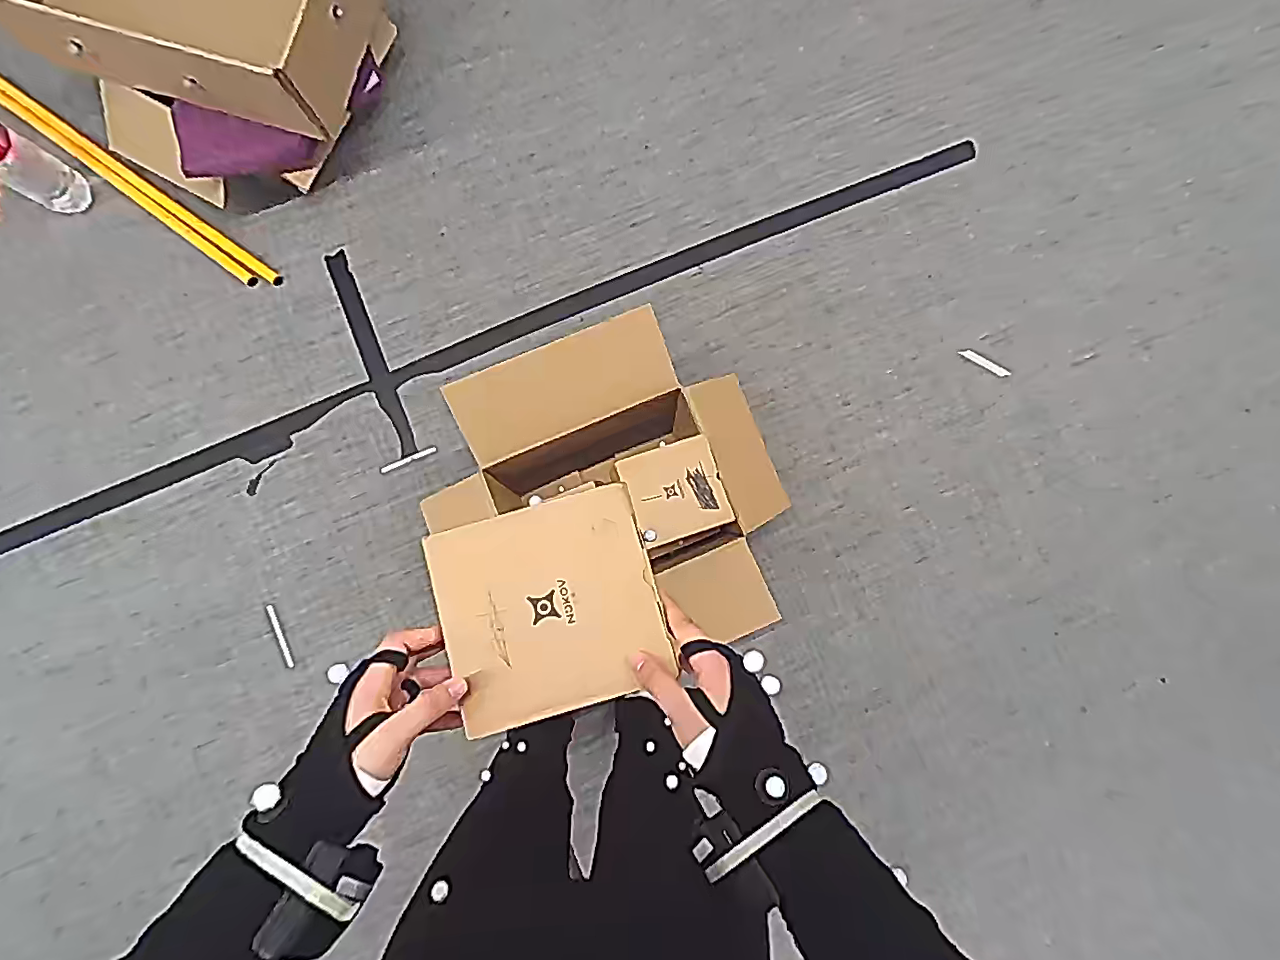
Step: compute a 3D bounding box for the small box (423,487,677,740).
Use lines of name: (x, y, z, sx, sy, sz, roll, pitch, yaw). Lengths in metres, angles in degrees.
small box: (-0.074, 0.117, 0.517, 0.179, 0.176, 0.168, -17, 80, -1)
